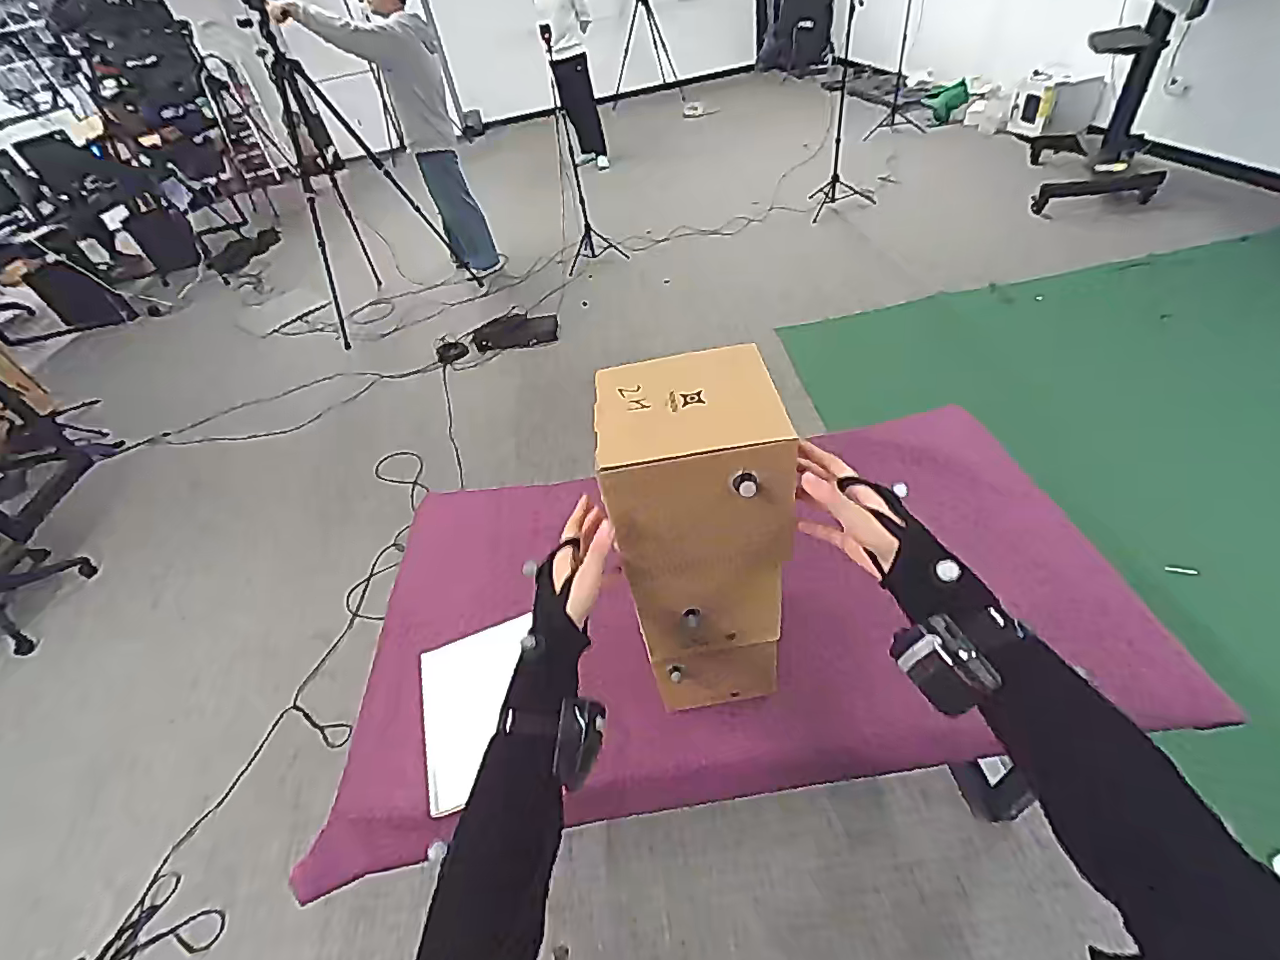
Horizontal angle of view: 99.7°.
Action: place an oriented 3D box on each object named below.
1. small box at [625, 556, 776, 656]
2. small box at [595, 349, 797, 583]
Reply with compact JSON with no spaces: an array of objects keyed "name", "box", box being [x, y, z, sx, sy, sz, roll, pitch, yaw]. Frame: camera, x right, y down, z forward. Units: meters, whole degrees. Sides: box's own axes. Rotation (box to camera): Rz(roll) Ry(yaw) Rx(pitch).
[{"name":"small box","box":[0.071,0.105,0.686,0.168,0.176,0.179,-10,42,2]},{"name":"small box","box":[0.055,-0.012,0.570,0.179,0.176,0.168,-9,41,4]}]
